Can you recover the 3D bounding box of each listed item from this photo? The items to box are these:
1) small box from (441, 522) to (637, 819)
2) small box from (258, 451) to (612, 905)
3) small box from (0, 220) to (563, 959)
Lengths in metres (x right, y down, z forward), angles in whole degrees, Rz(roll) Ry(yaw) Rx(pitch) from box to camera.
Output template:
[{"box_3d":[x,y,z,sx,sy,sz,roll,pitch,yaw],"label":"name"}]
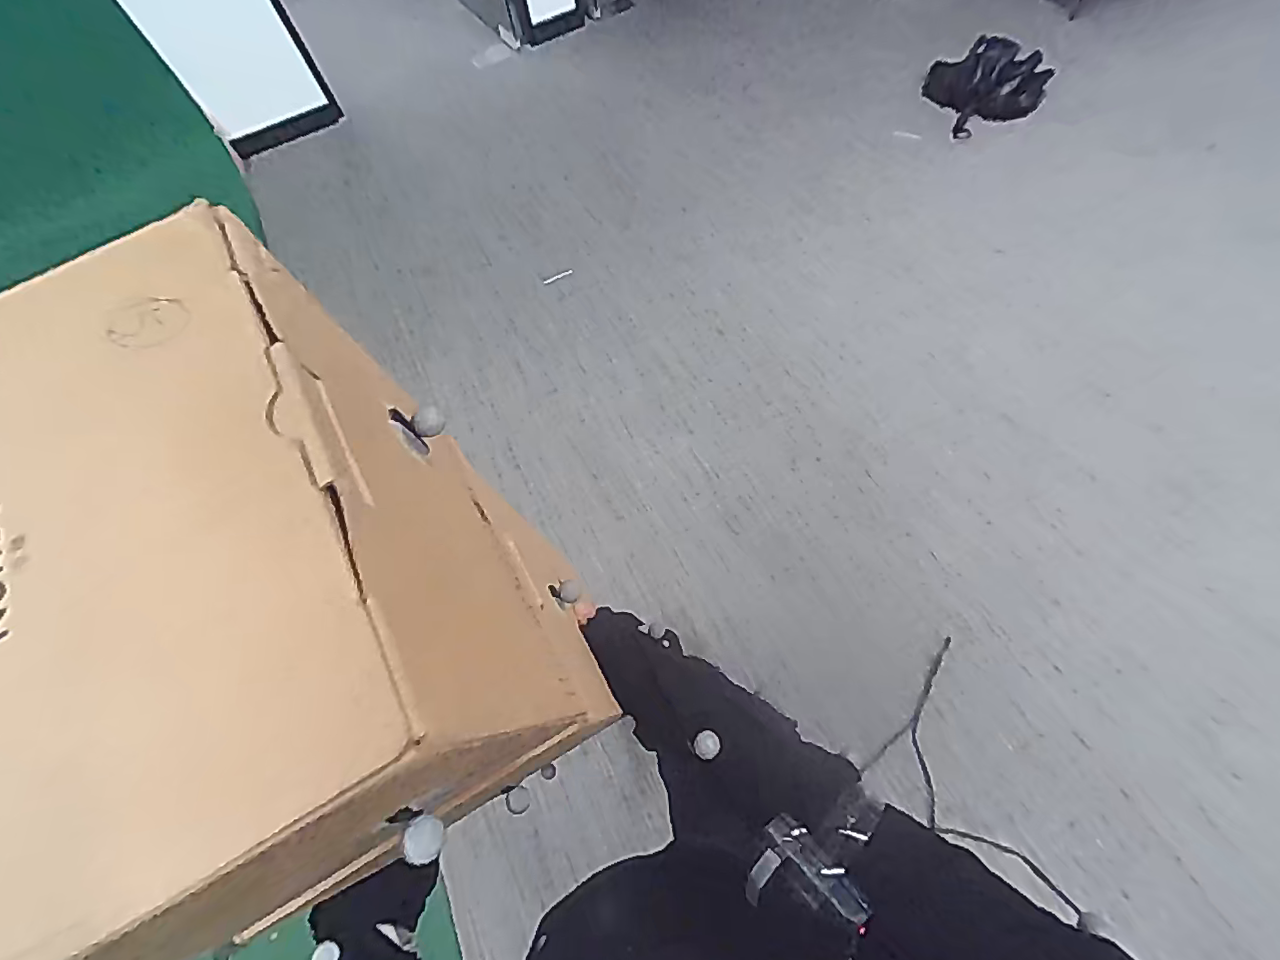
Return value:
[{"box_3d":[-0.115,0.170,0.509,0.179,0.176,0.168,-35,70,-8],"label":"small box"},{"box_3d":[-0.130,0.115,0.354,0.179,0.176,0.168,-30,68,-7],"label":"small box"},{"box_3d":[-0.144,0.053,0.205,0.179,0.176,0.168,-31,68,-6],"label":"small box"}]
